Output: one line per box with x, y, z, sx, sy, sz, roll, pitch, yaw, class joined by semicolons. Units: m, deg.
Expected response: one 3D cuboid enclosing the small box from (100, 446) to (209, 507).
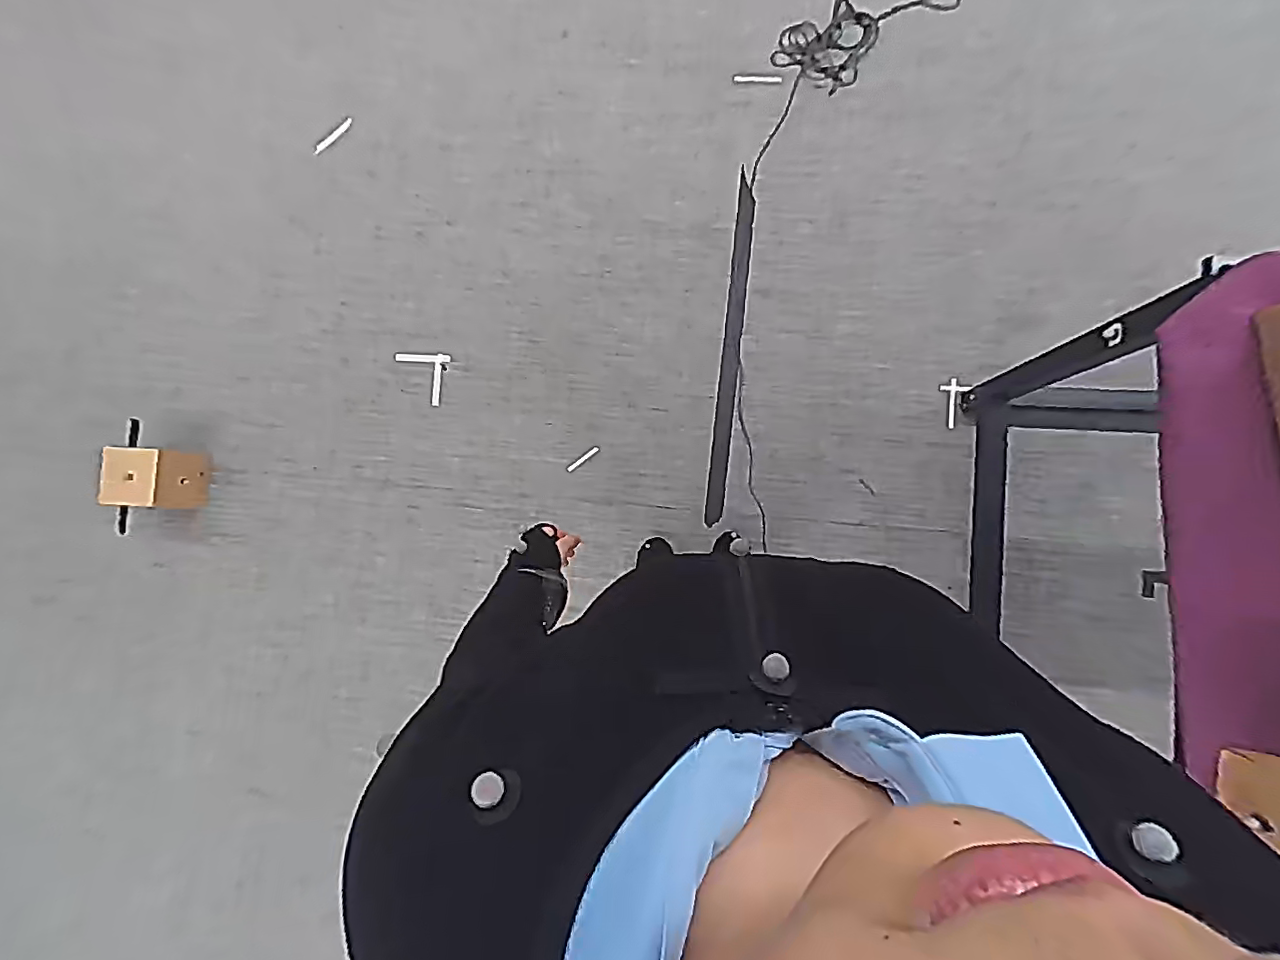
-1.430;-0.008;1.603;0.179;0.176;0.168;3;86;7;small box
